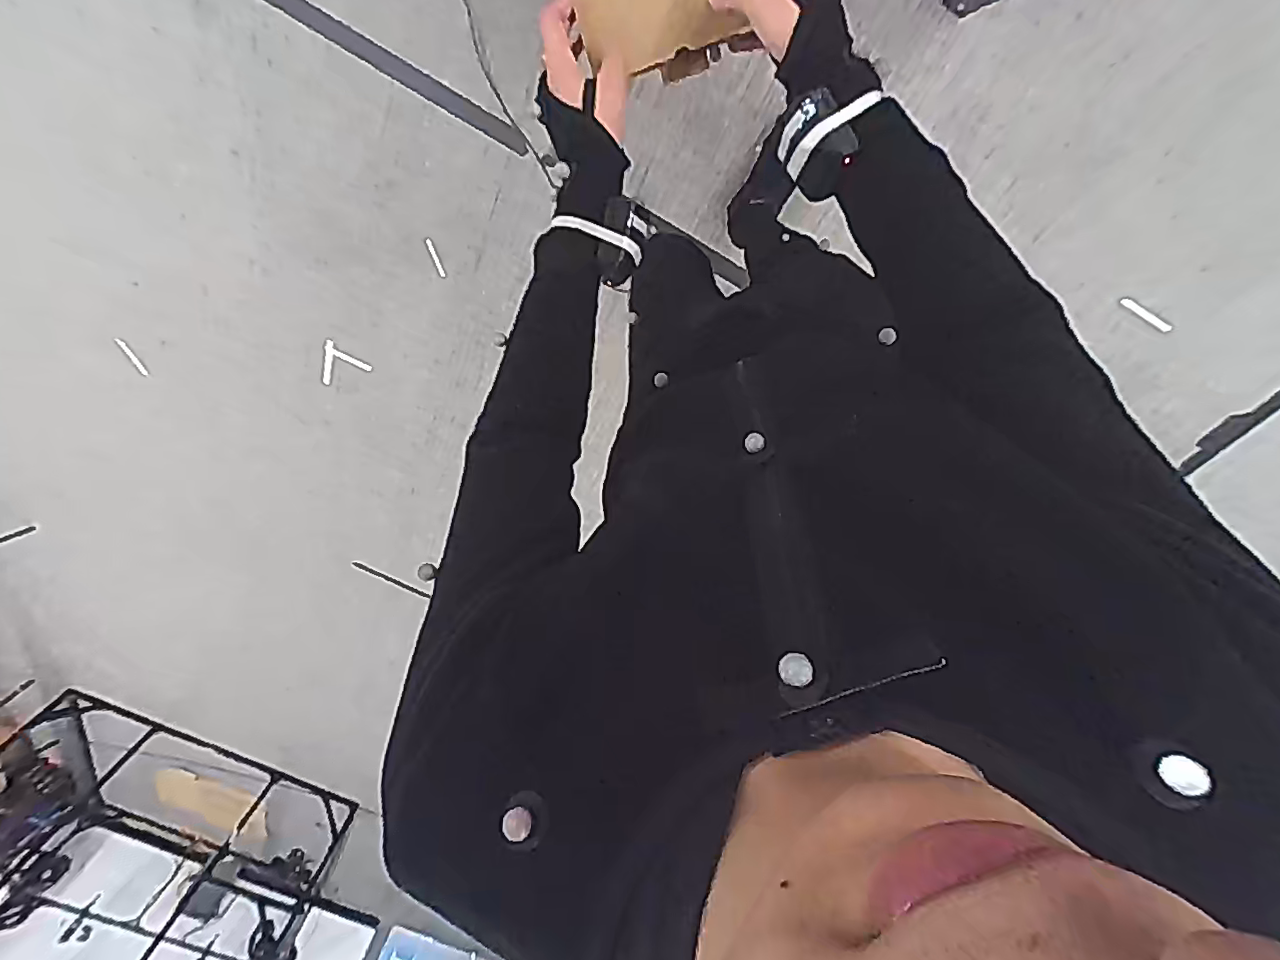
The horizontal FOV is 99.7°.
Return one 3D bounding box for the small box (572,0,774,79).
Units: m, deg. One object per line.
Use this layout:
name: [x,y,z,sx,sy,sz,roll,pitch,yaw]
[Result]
small box: [0.013,-0.490,0.477,0.168,0.176,0.179,-13,129,10]
